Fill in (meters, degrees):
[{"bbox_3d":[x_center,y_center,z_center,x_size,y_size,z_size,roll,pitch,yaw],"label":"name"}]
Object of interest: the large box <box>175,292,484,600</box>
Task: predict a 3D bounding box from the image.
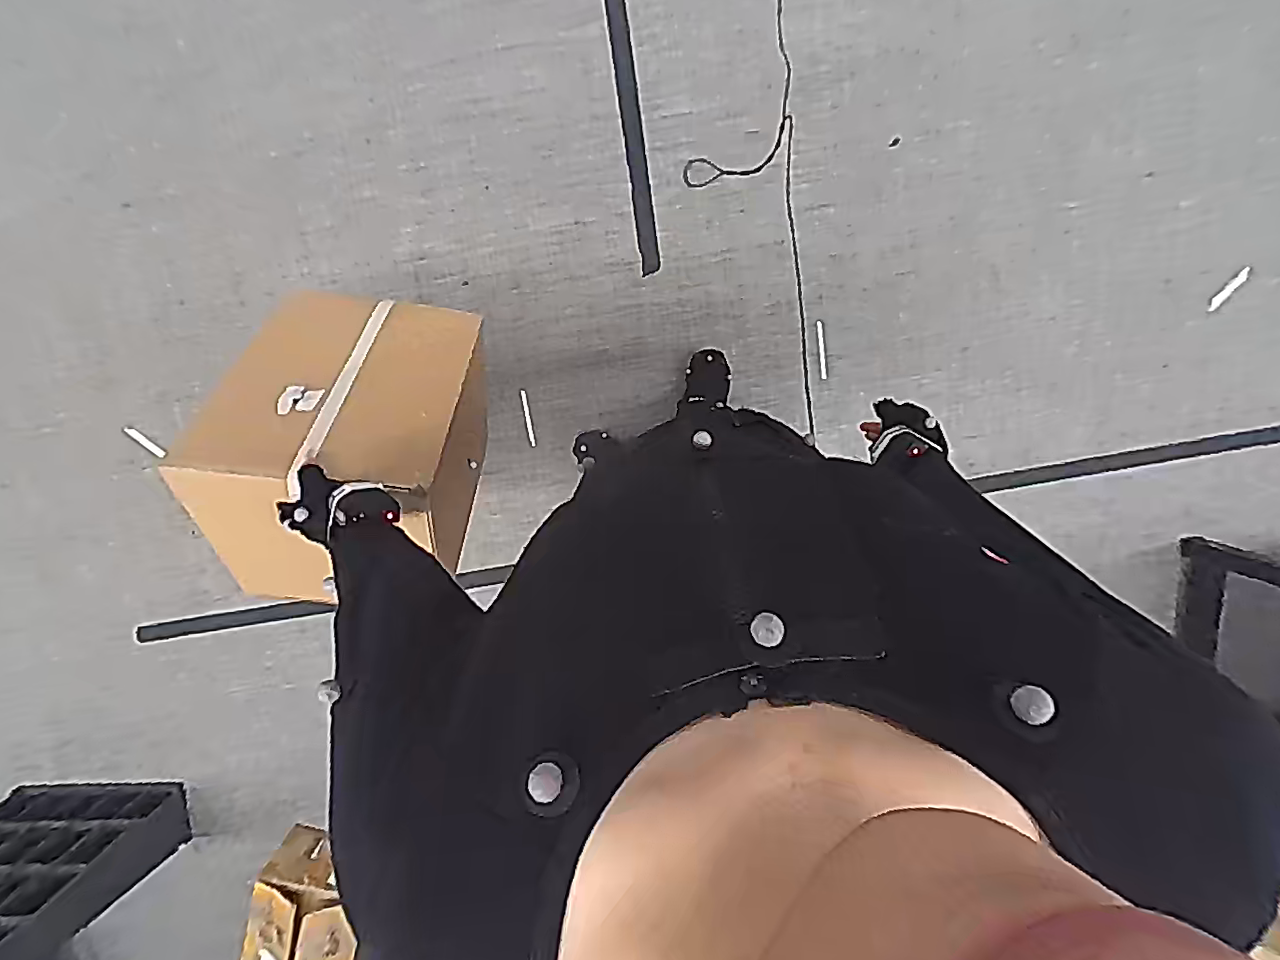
[{"bbox_3d":[-0.454,-0.056,0.921,0.320,0.408,0.320,6,139,-7],"label":"large box"}]
